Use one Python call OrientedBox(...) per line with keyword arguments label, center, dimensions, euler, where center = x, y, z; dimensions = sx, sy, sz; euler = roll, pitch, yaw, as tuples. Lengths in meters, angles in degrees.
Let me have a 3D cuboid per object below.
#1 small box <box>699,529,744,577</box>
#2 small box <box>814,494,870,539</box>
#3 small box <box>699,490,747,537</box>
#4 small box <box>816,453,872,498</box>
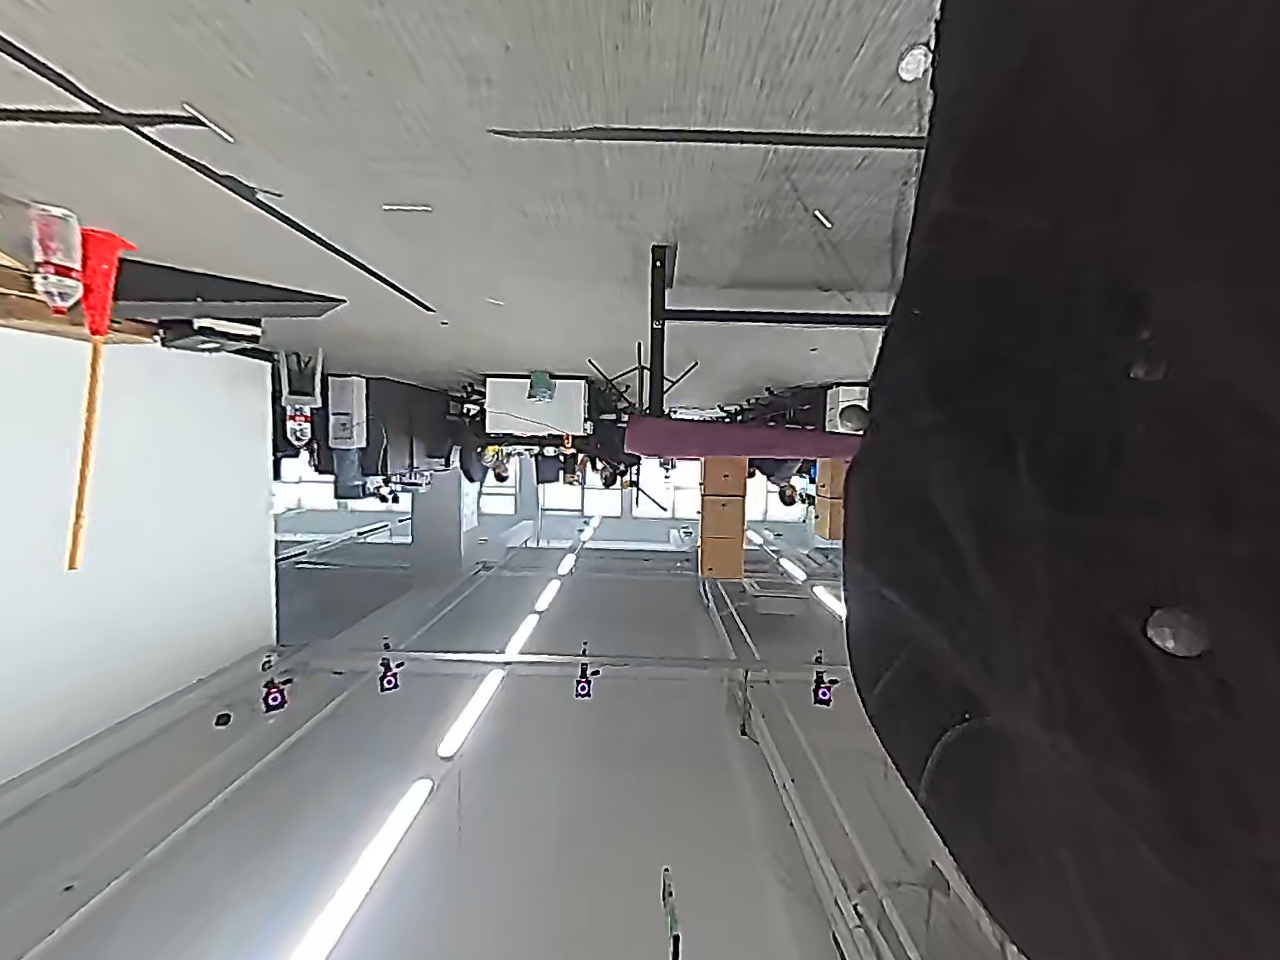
OrientedBox(label="small box", center=(0.331, 0.294, 2.210), dimensions=(0.179, 0.176, 0.168), euler=(1, -176, 4))
OrientedBox(label="small box", center=(0.817, 0.142, 2.183), dimensions=(0.168, 0.176, 0.179), euler=(1, -177, 1))
OrientedBox(label="small box", center=(0.333, 0.132, 2.191), dimensions=(0.179, 0.176, 0.168), euler=(2, -176, 5))
OrientedBox(label="small box", center=(0.823, -0.021, 2.184), dimensions=(0.168, 0.176, 0.179), euler=(2, -175, 0))
